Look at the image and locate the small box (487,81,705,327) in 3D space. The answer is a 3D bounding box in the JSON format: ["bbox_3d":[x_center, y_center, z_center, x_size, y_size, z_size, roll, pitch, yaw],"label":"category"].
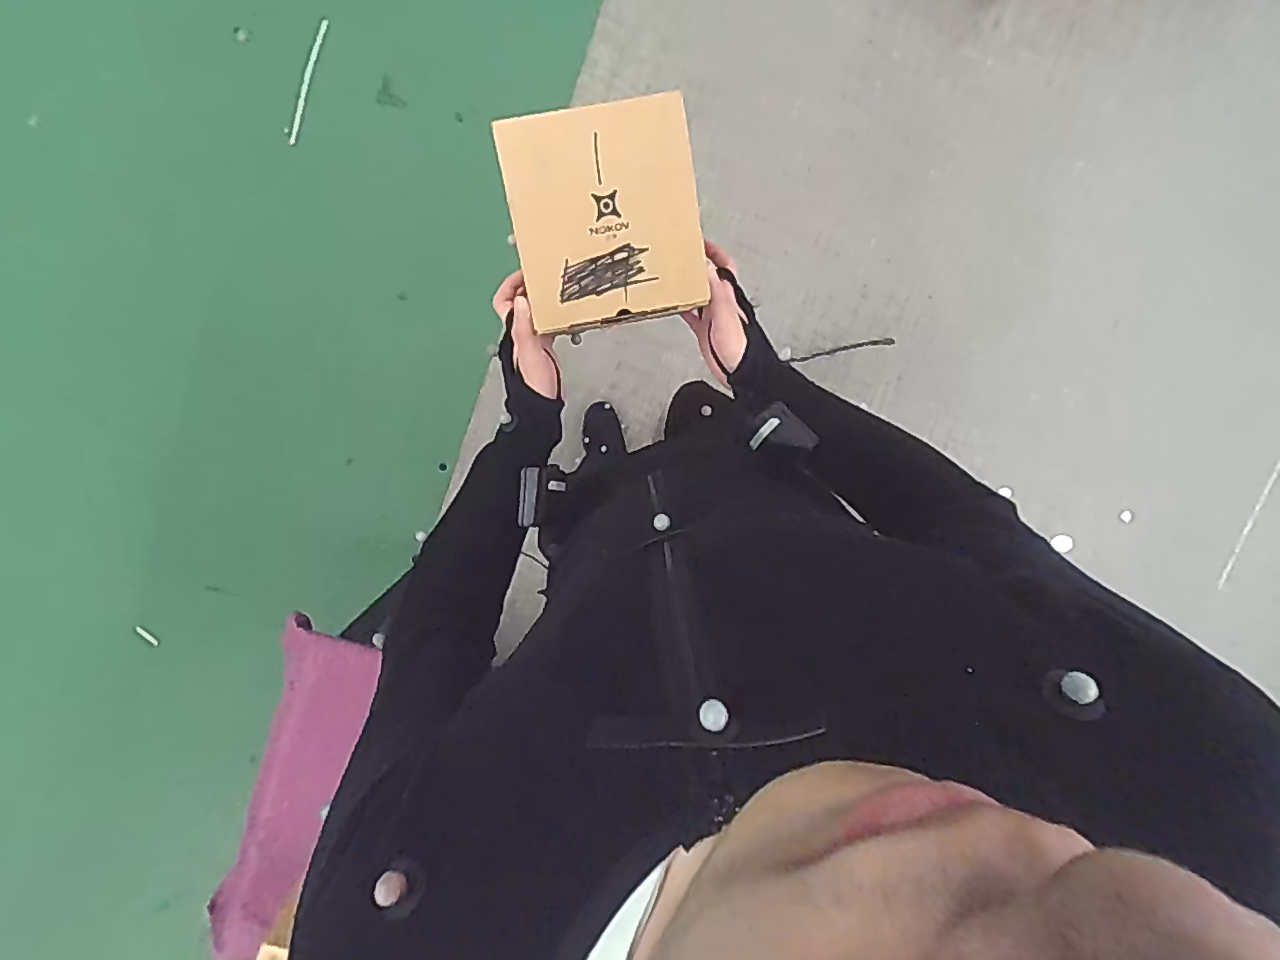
[{"bbox_3d":[-0.039,-0.252,0.539,0.168,0.176,0.179,-10,104,-3],"label":"small box"}]

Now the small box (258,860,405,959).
[{"bbox_3d":[-0.505,0.772,0.873,0.168,0.176,0.179,20,97,-8],"label":"small box"}]
